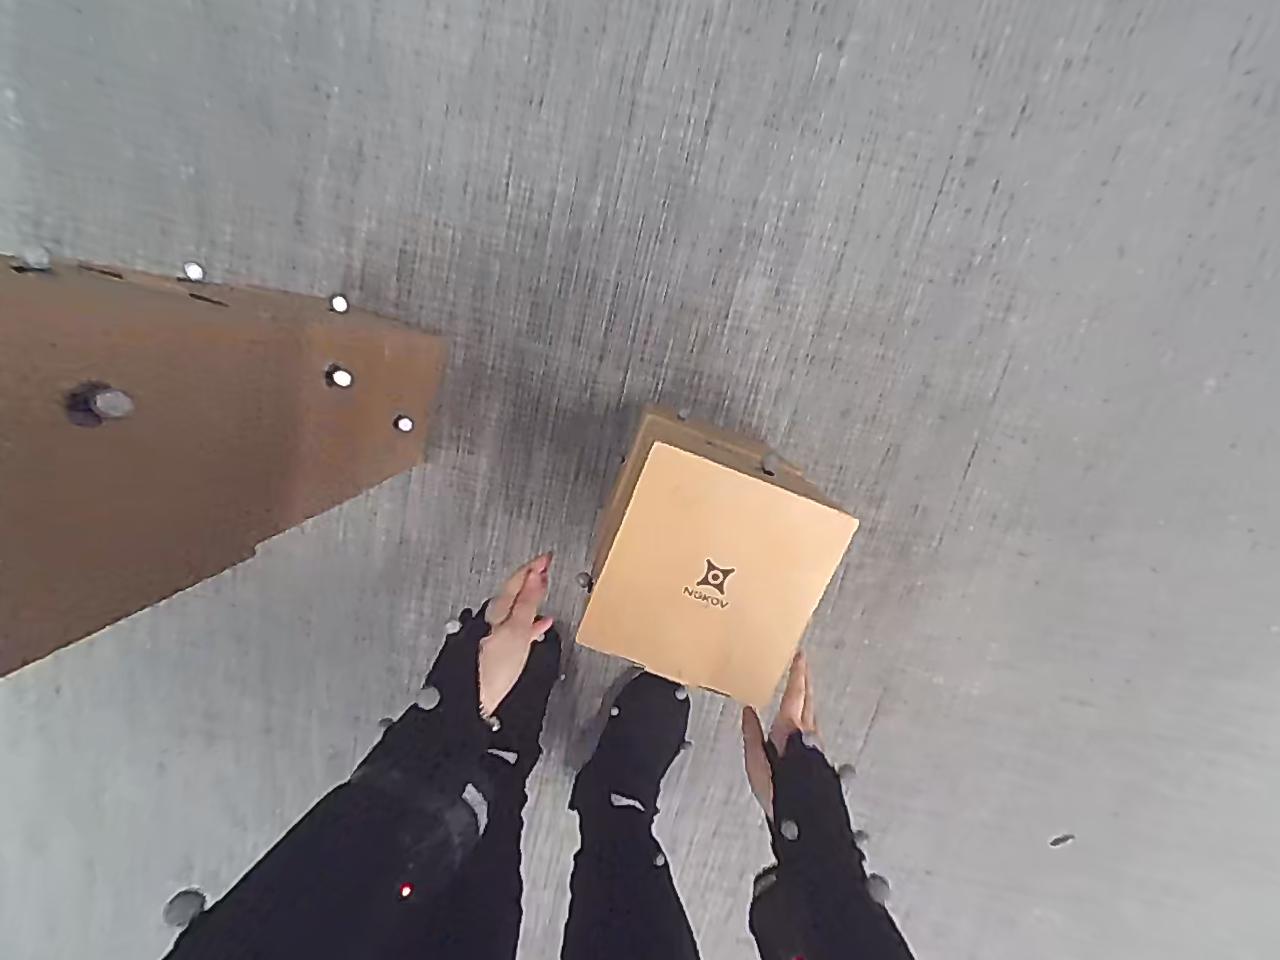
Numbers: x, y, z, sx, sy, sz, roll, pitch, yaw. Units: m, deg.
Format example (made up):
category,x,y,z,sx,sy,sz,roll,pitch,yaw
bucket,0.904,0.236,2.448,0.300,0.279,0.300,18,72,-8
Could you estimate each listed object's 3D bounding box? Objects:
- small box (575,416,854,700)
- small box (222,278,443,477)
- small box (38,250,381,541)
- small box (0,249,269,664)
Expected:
category,x,y,z,sx,sy,sz,roll,pitch,yaw
small box,0.053,0.053,0.486,0.168,0.176,0.179,20,103,-4
small box,-0.346,-0.110,0.620,0.168,0.176,0.179,17,103,-3
small box,-0.346,-0.072,0.462,0.168,0.176,0.179,14,103,-1
small box,-0.346,-0.032,0.302,0.168,0.176,0.179,14,102,-1
